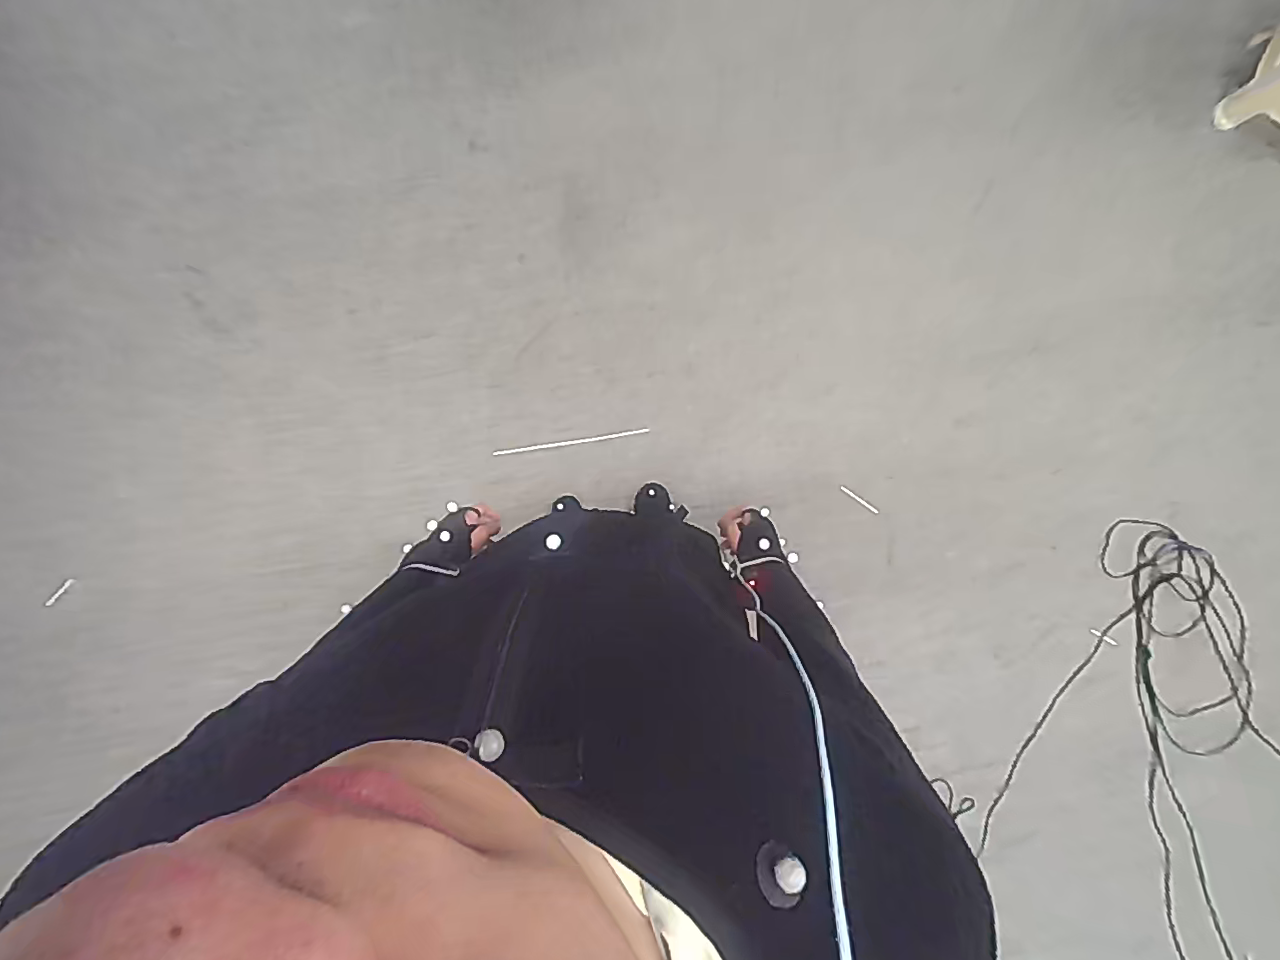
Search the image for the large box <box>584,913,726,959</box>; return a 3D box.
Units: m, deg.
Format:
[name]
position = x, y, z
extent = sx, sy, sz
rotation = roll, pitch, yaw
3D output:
[large box]
position = 0.057, 1.468, 1.468
extent = 0.408, 0.320, 0.320
rotation = -7, 88, -1
